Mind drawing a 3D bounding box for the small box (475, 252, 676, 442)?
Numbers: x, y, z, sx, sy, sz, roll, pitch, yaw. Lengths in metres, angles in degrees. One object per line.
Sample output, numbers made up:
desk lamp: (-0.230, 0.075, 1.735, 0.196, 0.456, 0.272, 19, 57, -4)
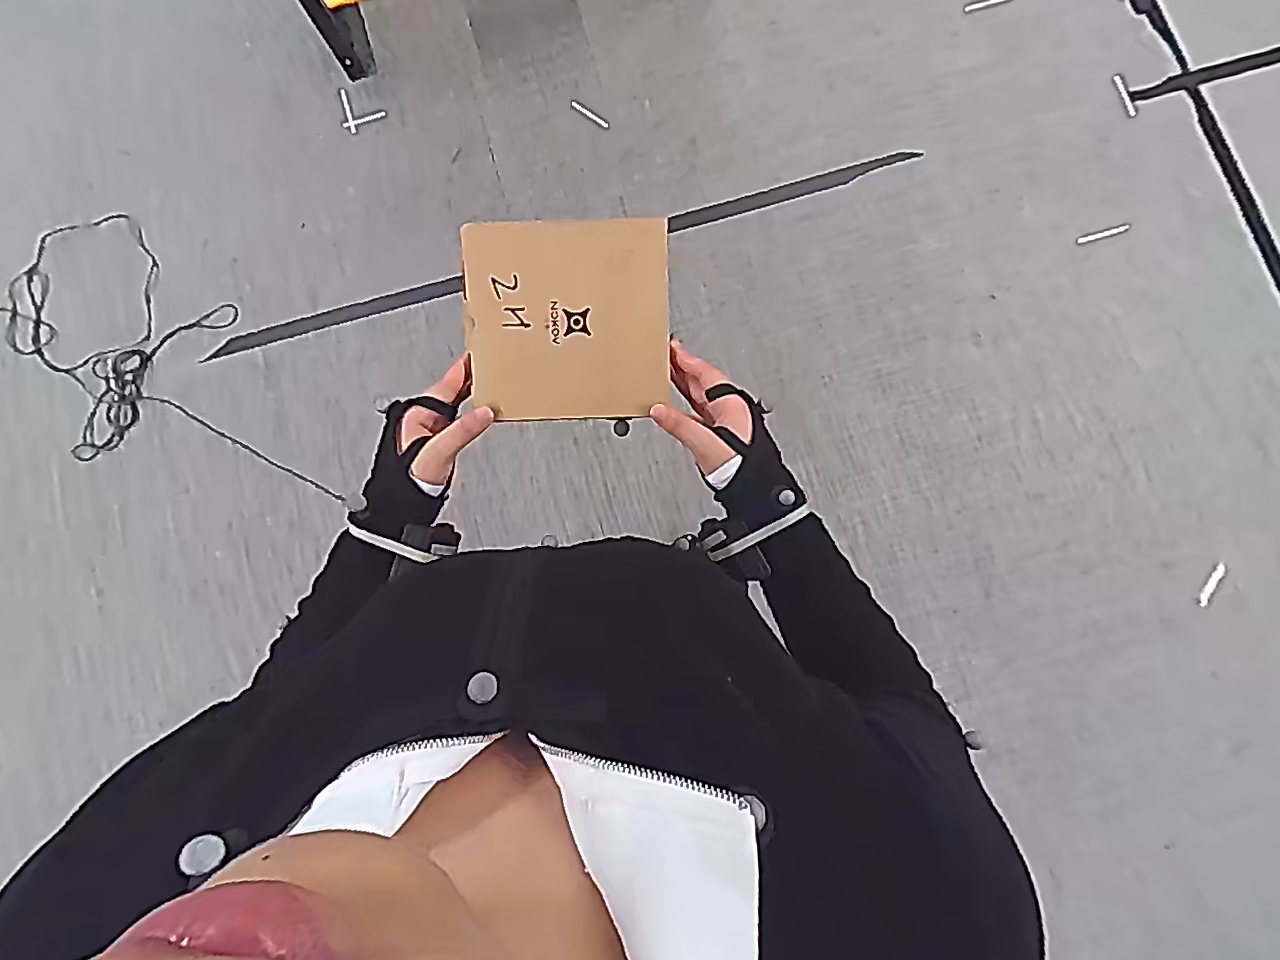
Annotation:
small box: (-0.056, -0.126, 0.557, 0.179, 0.176, 0.168, -1, 97, 1)
